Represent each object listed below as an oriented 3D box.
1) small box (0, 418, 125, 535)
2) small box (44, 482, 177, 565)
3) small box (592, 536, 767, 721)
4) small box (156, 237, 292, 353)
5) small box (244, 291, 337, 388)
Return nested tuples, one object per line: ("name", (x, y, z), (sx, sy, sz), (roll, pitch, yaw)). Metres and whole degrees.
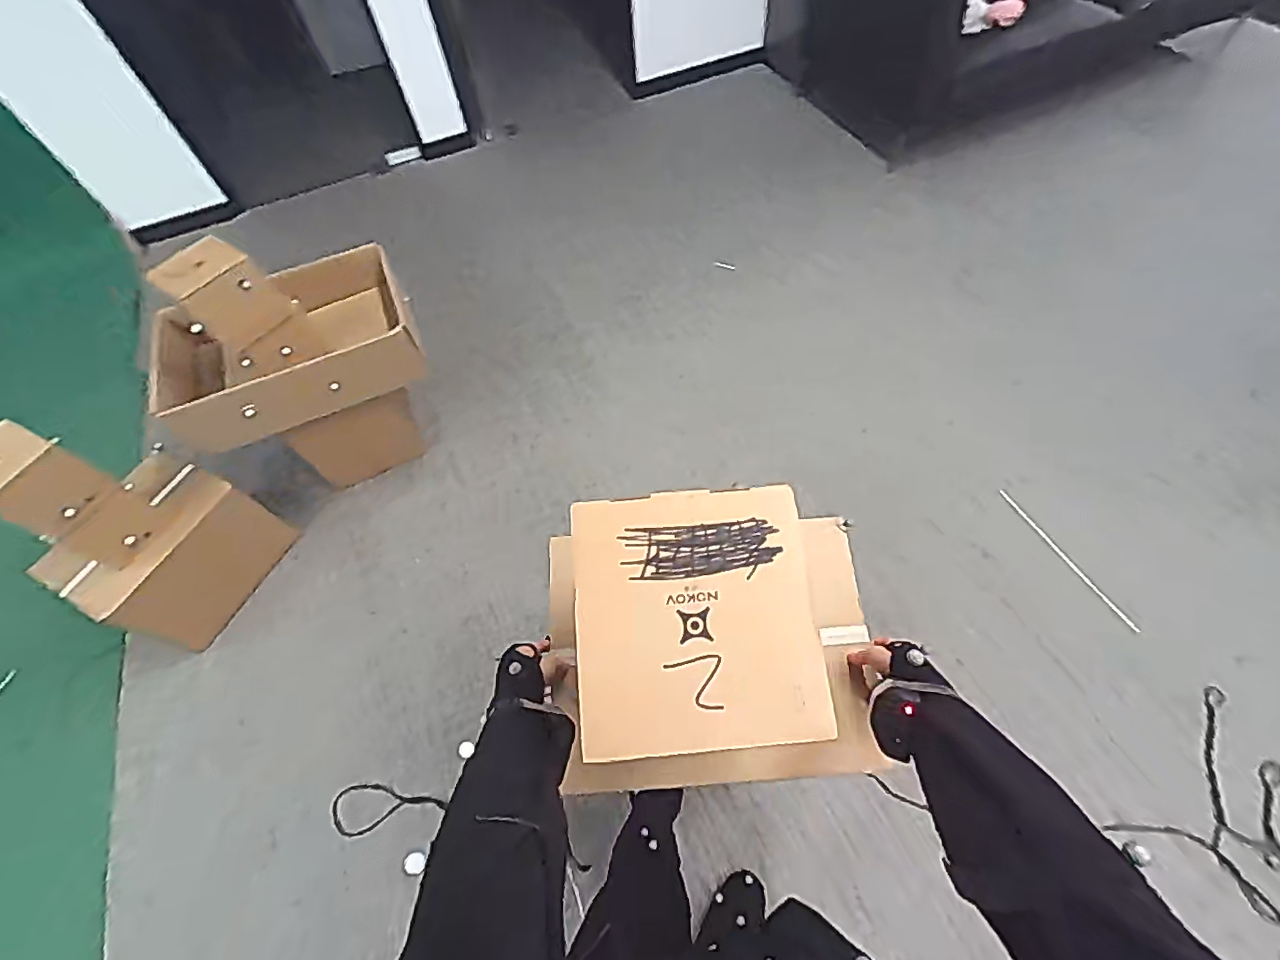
("small box", (-1.312, -0.003, 1.182), (0.179, 0.176, 0.168), (22, 63, 17))
("small box", (-1.309, 0.084, 1.321), (0.179, 0.176, 0.168), (24, 63, 18))
("small box", (0.037, 0.167, 0.601), (0.168, 0.176, 0.179), (0, 71, 1))
("small box", (-0.987, -0.444, 1.305), (0.168, 0.176, 0.179), (31, 66, 22))
("small box", (-0.967, -0.379, 1.457), (0.168, 0.176, 0.179), (31, 66, 19))
